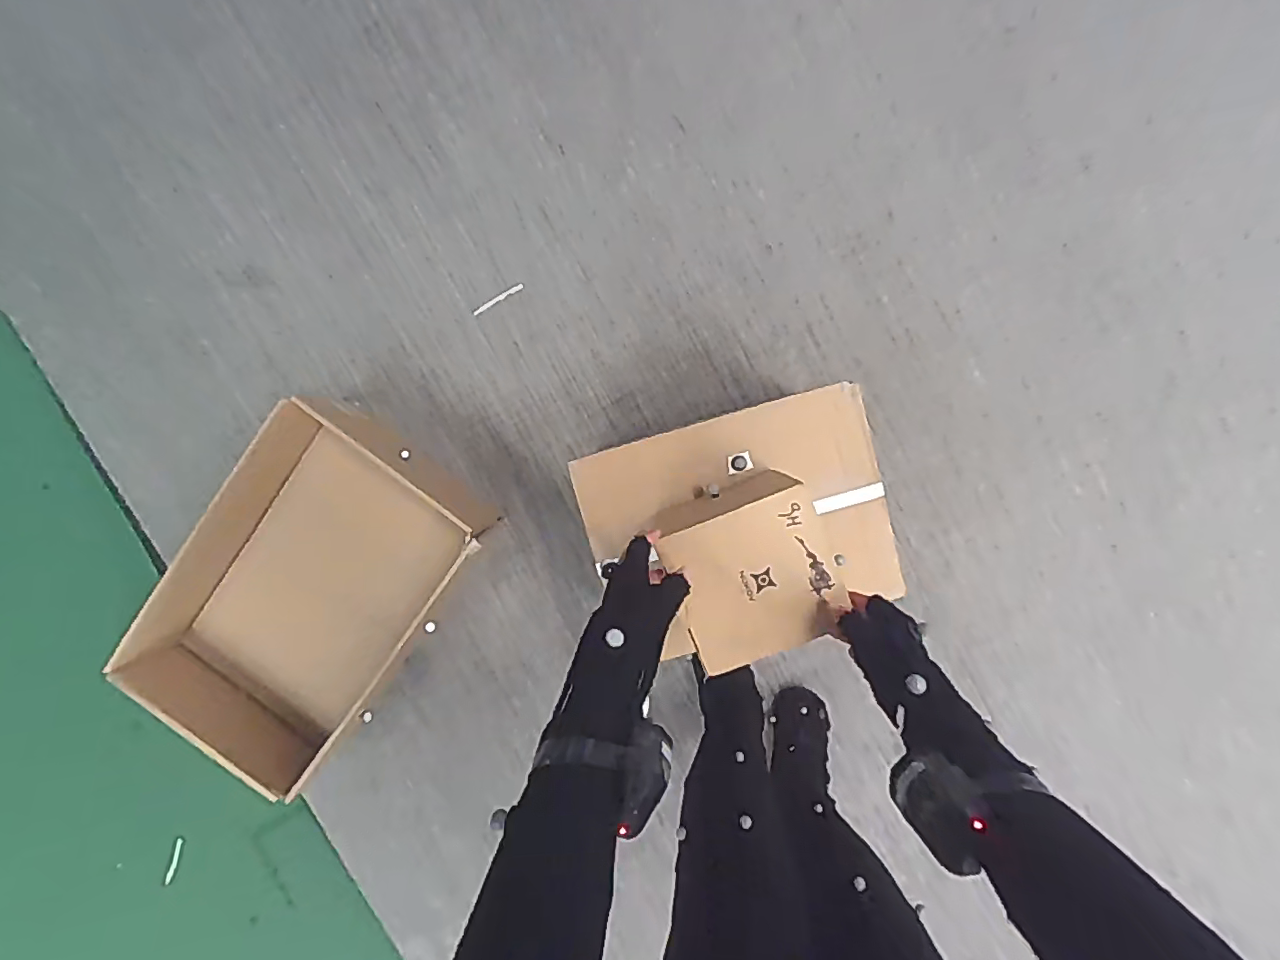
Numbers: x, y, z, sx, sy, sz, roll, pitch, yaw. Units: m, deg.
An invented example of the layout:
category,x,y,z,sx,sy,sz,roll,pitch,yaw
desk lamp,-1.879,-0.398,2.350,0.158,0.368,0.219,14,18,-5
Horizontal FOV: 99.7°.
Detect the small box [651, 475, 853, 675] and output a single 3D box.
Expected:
category,x,y,z,sx,sy,sz,roll,pitch,yaw
small box,0.125,0.103,0.659,0.179,0.176,0.168,-22,95,5
